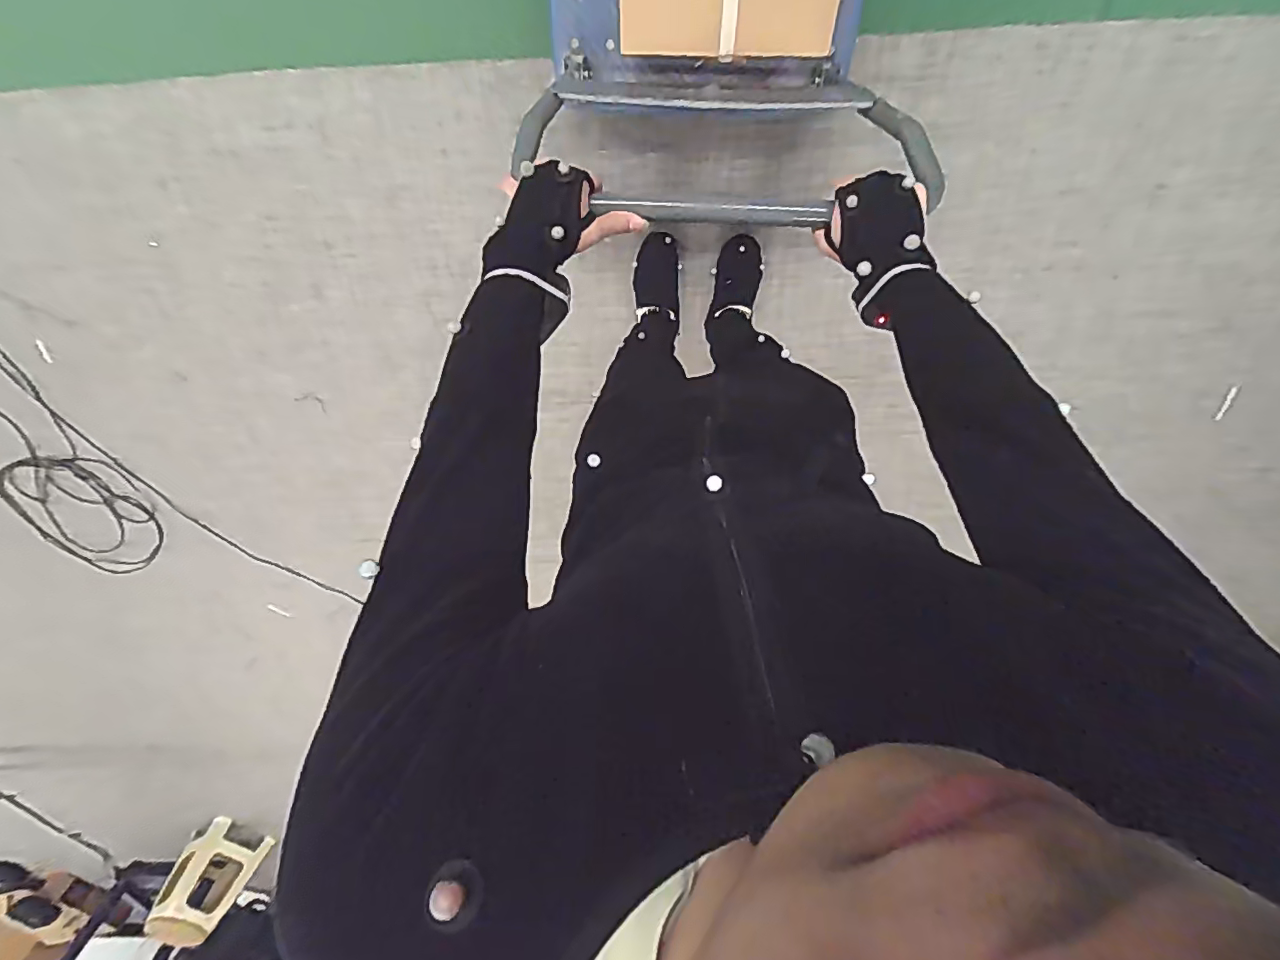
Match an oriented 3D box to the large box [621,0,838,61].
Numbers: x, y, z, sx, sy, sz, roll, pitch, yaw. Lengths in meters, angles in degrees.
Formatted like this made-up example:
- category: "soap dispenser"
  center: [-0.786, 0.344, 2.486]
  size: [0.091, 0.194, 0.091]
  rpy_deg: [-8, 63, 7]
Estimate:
- category: "large box"
  center: [0.134, -0.881, 0.804]
  size: [0.320, 0.320, 0.408]
  rpy_deg: [2, 129, 1]
